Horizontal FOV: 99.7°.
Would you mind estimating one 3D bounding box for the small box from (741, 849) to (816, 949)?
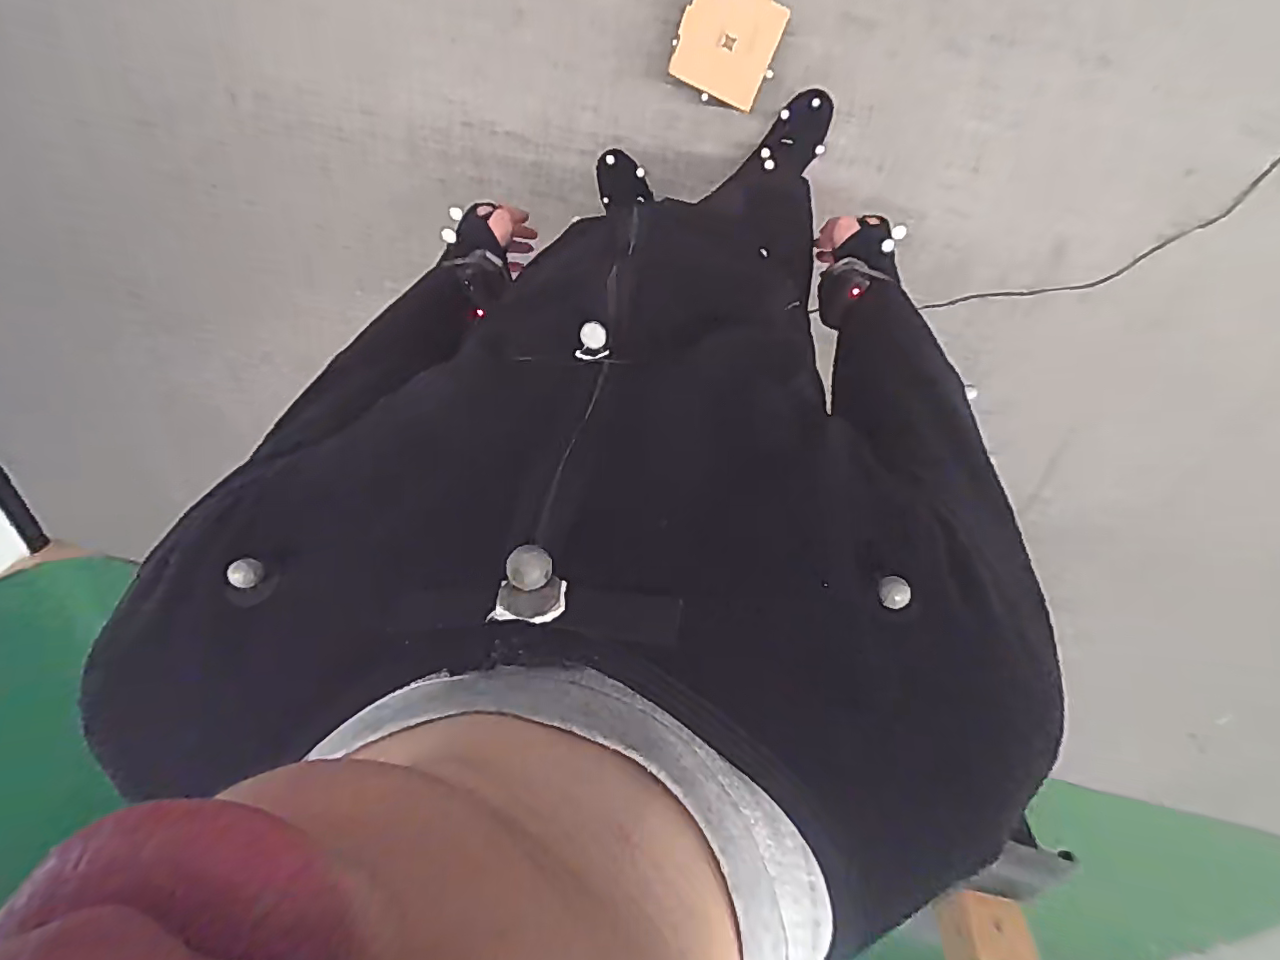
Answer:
[{"bbox_3d":[0.397,1.214,1.570,0.168,0.176,0.179,12,124,1],"label":"small box"}]

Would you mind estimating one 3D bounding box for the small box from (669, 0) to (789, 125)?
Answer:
[{"bbox_3d":[0.174,-0.839,1.082,0.179,0.176,0.168,22,127,-7],"label":"small box"}]

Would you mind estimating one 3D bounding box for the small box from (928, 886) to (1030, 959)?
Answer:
[{"bbox_3d":[0.943,1.279,1.520,0.168,0.176,0.179,10,125,3],"label":"small box"}]
